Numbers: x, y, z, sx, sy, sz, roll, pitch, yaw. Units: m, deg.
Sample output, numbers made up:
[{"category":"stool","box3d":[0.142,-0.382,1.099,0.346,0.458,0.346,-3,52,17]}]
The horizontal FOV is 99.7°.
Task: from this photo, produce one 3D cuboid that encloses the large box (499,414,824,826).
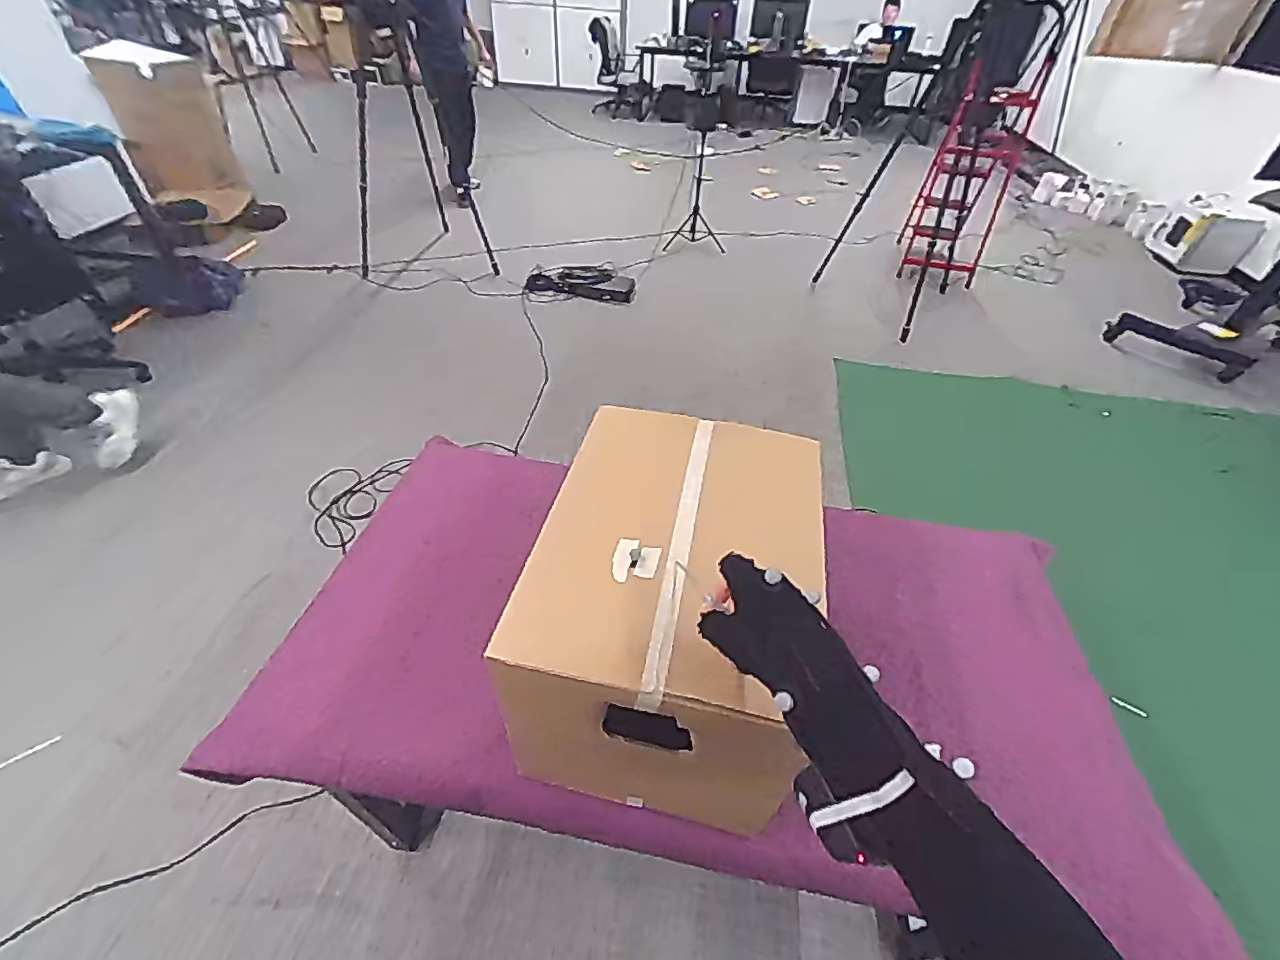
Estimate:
[{"category":"large box","box3d":[0.043,0.172,0.734,0.320,0.320,0.408,11,44,7]}]
